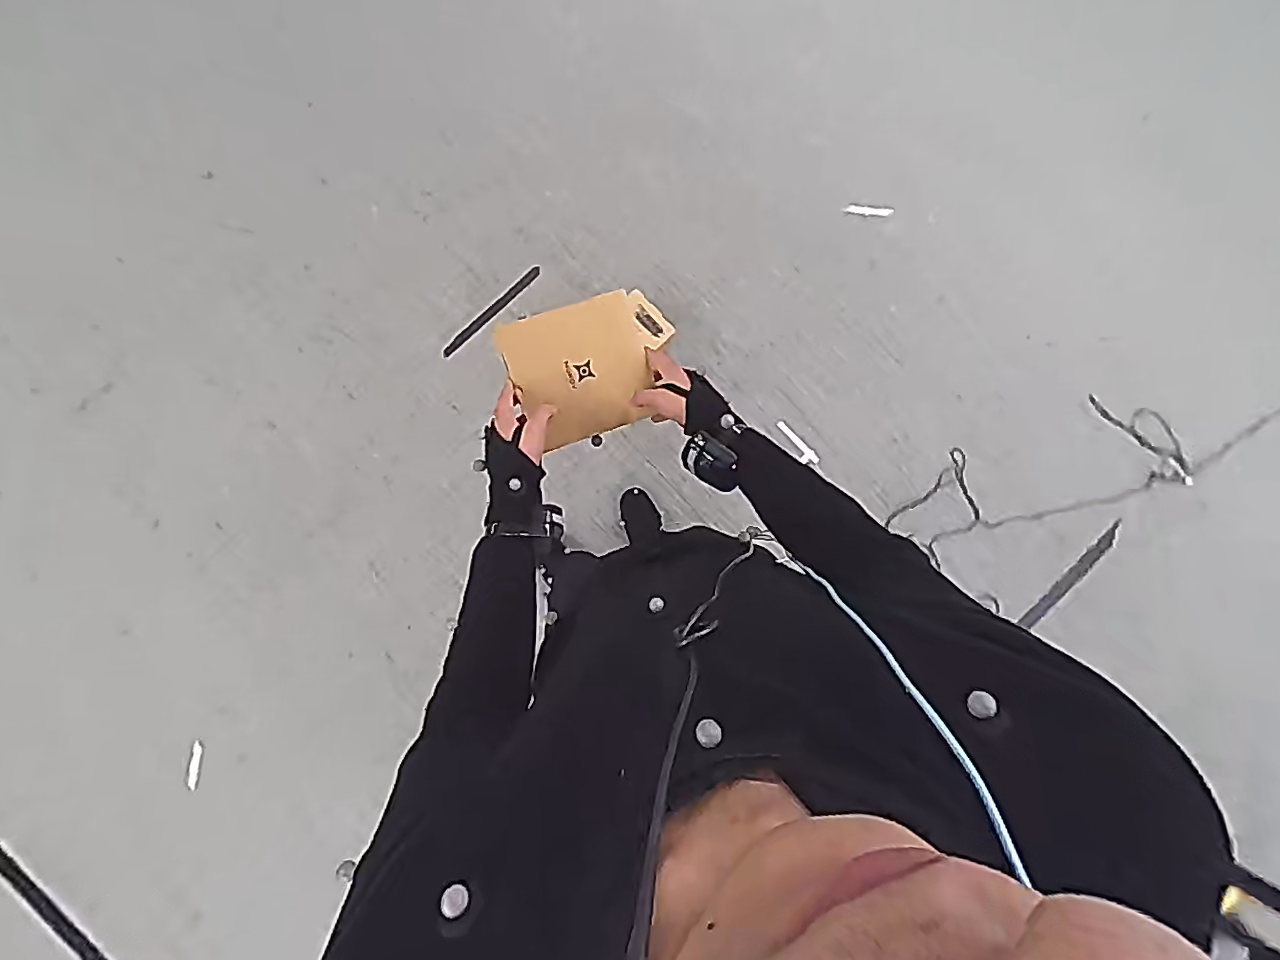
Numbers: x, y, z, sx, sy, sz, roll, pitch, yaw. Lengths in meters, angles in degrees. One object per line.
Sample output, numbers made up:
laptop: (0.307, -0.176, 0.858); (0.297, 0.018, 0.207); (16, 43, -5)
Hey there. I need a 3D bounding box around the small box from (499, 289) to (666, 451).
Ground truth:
small box: (-0.080, -0.151, 0.761); (0.179, 0.176, 0.168); (-19, 100, -4)
